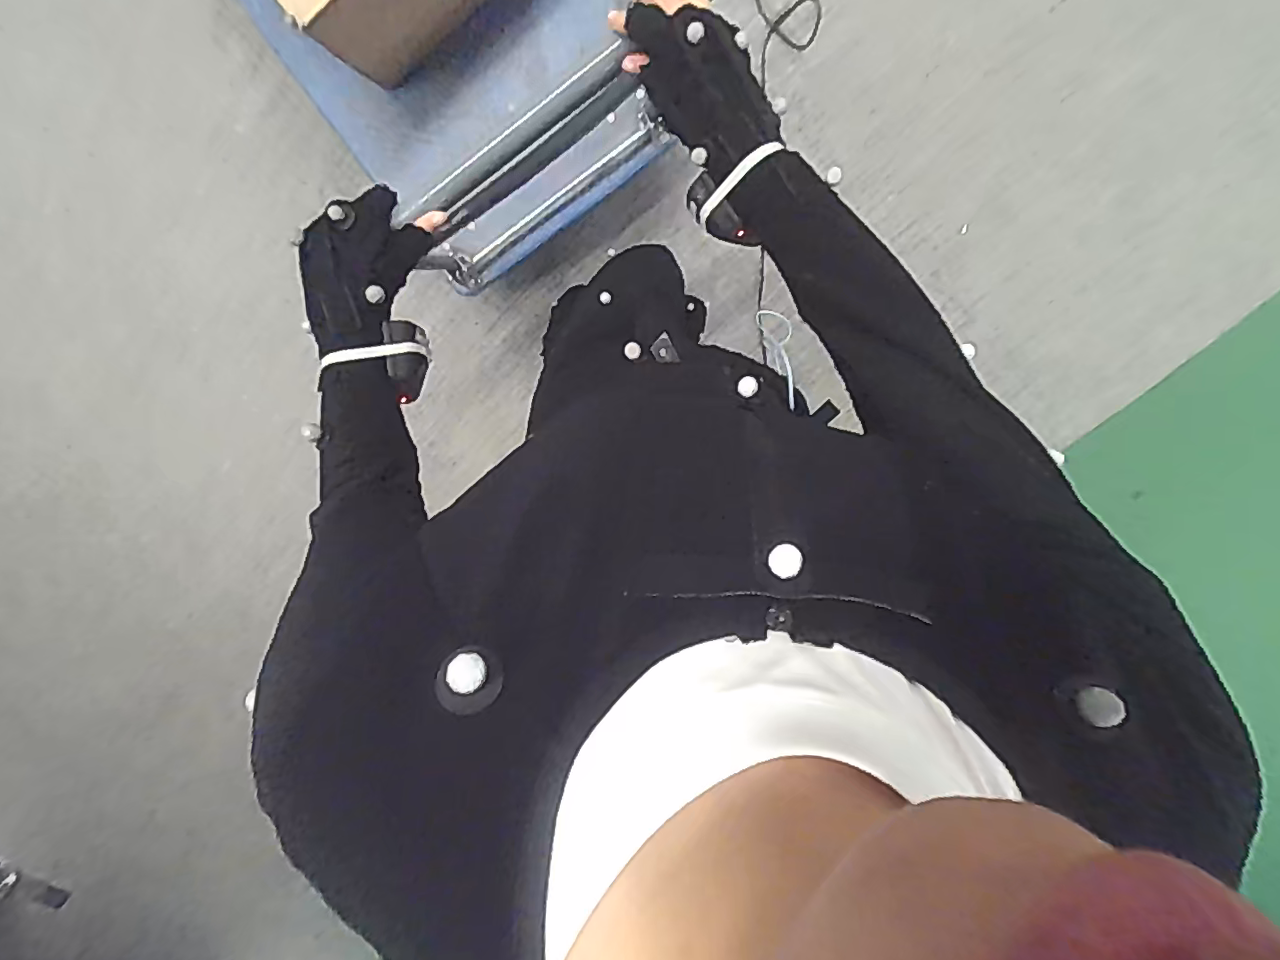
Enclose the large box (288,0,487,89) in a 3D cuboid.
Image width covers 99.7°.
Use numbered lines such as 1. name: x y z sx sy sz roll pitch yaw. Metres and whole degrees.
1. large box: -0.393 -0.909 0.811 0.408 0.320 0.320 -35 108 13
